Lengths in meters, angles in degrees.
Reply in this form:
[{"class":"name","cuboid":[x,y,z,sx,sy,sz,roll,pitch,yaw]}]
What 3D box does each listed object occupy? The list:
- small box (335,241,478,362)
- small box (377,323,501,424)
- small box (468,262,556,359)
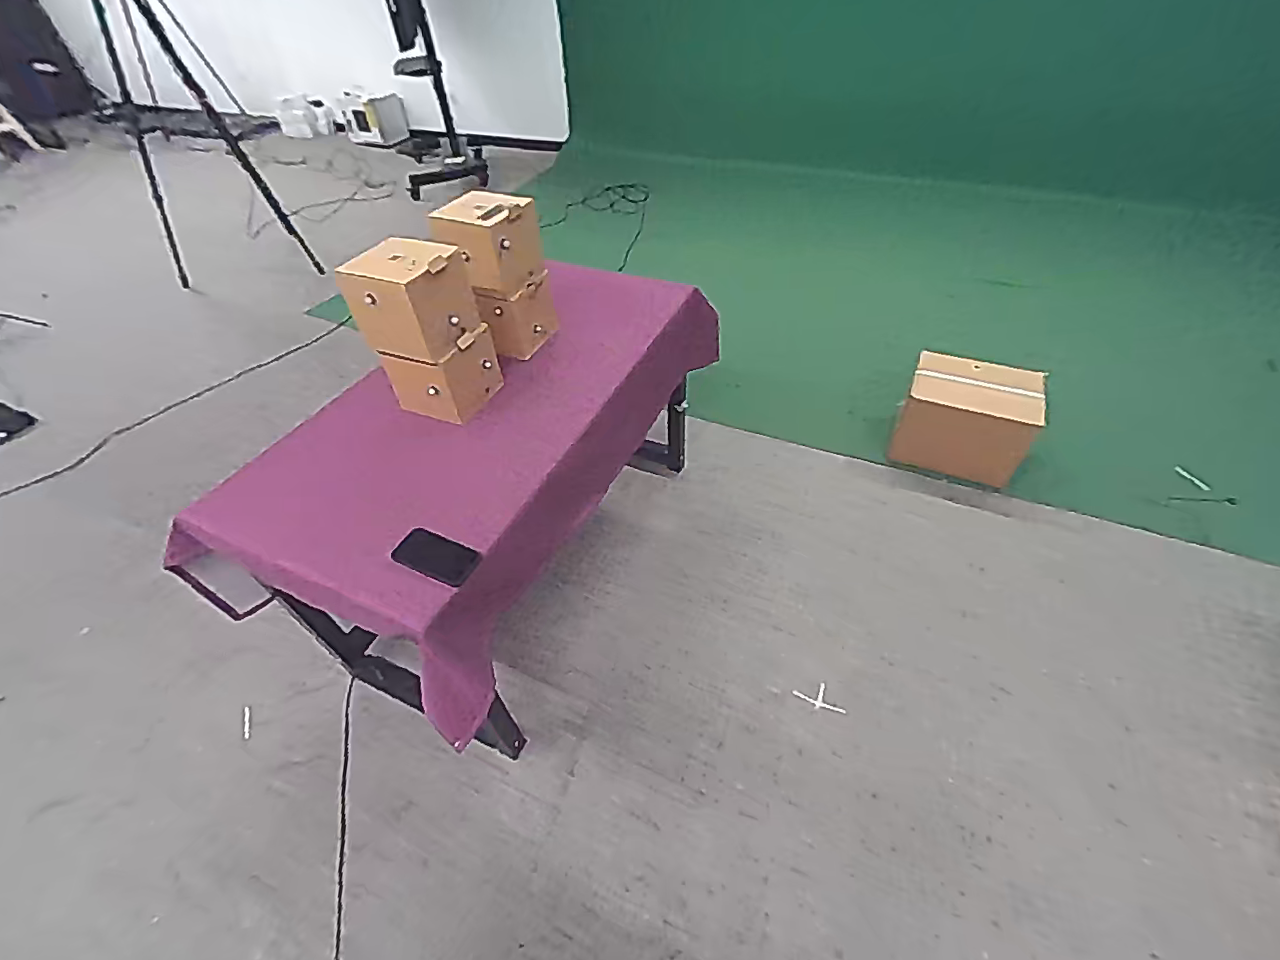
[{"class":"small box","cuboid":[-0.458,-0.358,1.088,0.179,0.176,0.168,16,49,18]},{"class":"small box","cuboid":[-0.436,-0.248,1.210,0.179,0.176,0.168,16,49,19]},{"class":"small box","cuboid":[-0.336,-0.429,1.375,0.179,0.176,0.168,17,50,18]}]
